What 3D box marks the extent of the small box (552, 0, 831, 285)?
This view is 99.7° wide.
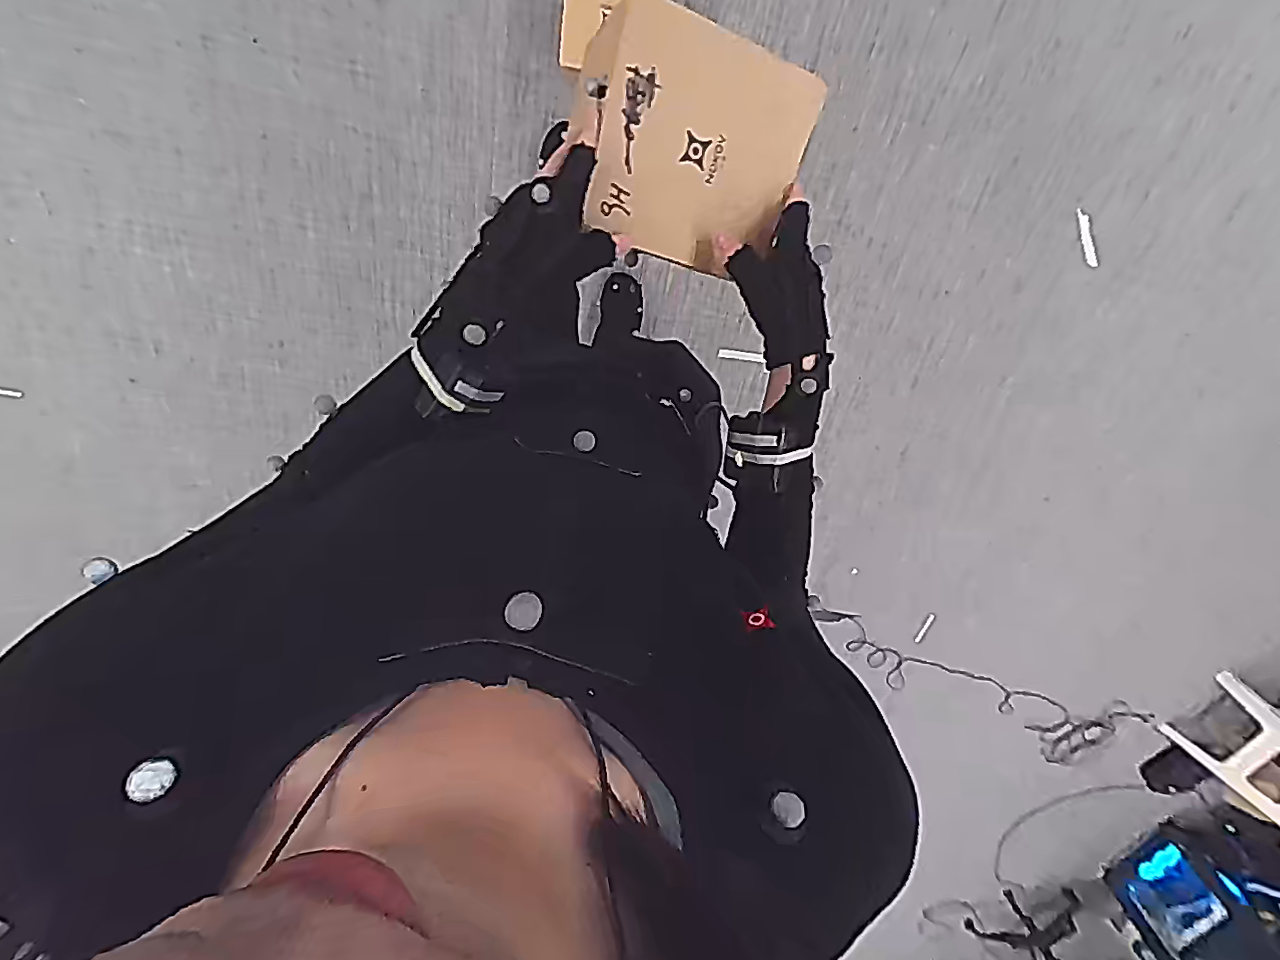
[{"bbox_3d":[0.031,-0.299,0.502,0.179,0.176,0.168,10,113,-23],"label":"small box"}]

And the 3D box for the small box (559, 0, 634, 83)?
[{"bbox_3d":[-0.060,-0.865,1.036,0.168,0.176,0.179,8,120,-7],"label":"small box"}]
